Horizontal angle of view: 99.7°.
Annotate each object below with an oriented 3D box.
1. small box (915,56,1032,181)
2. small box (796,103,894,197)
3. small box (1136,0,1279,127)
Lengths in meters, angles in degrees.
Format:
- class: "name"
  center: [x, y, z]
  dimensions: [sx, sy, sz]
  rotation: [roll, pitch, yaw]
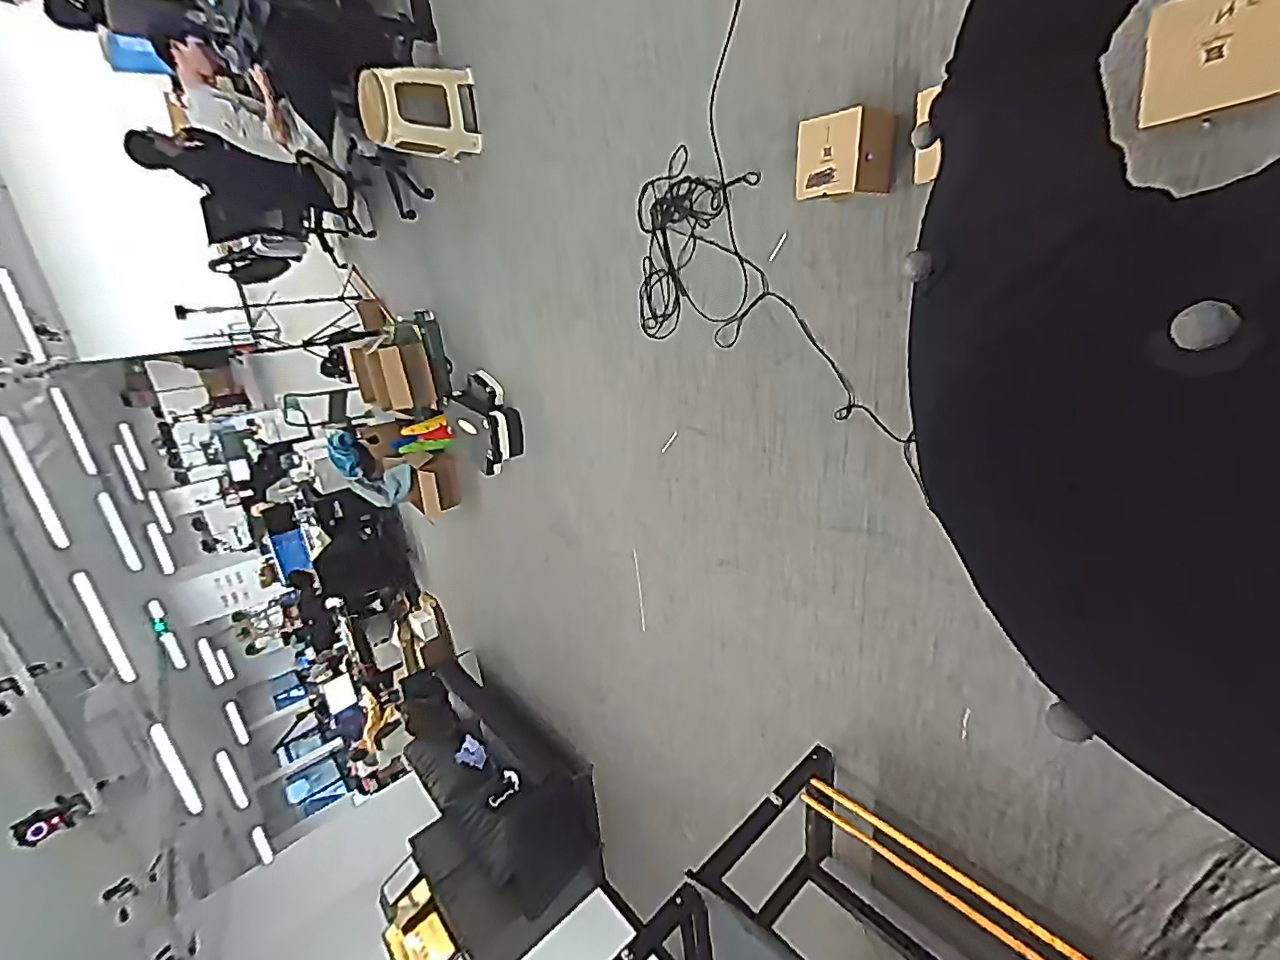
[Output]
- class: "small box"
  center: [0.705, -0.749, 1.143]
  dimensions: [0.168, 0.176, 0.179]
  rotation: [14, 118, 48]
- class: "small box"
  center: [0.512, -0.813, 1.351]
  dimensions: [0.168, 0.176, 0.179]
  rotation: [20, 121, 45]
- class: "small box"
  center: [0.939, -0.695, 0.876]
  dimensions: [0.168, 0.176, 0.179]
  rotation: [11, 115, 48]
